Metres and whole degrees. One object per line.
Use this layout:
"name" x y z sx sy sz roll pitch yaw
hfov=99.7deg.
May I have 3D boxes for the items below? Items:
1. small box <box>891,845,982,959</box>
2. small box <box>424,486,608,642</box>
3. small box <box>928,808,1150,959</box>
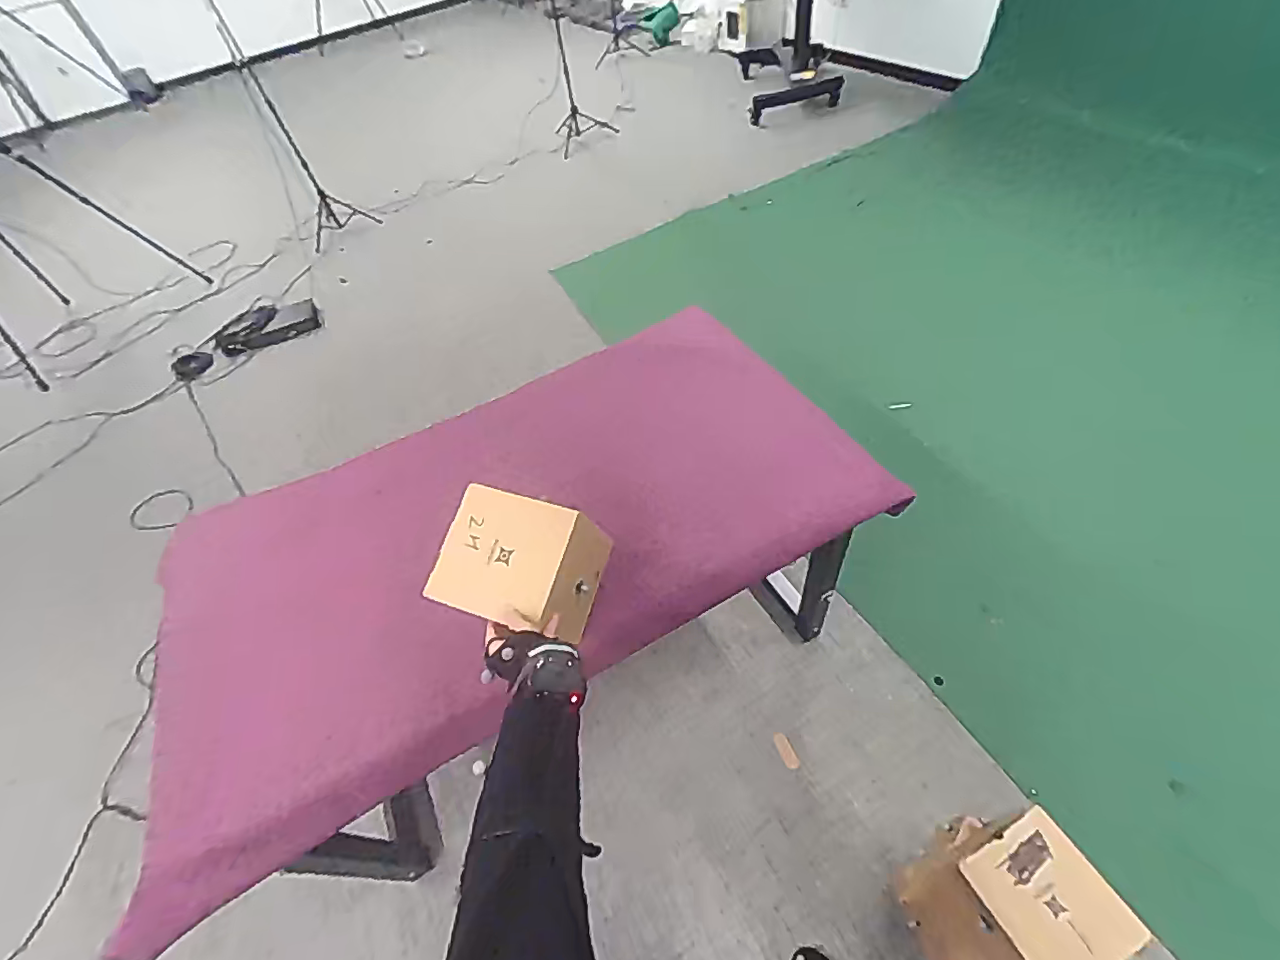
"small box" 0.619 0.840 1.060 0.179 0.176 0.168 -19 52 -6
"small box" -0.164 0.128 0.782 0.179 0.176 0.168 13 72 18
"small box" 0.573 0.633 0.809 0.168 0.176 0.179 -25 53 -12
